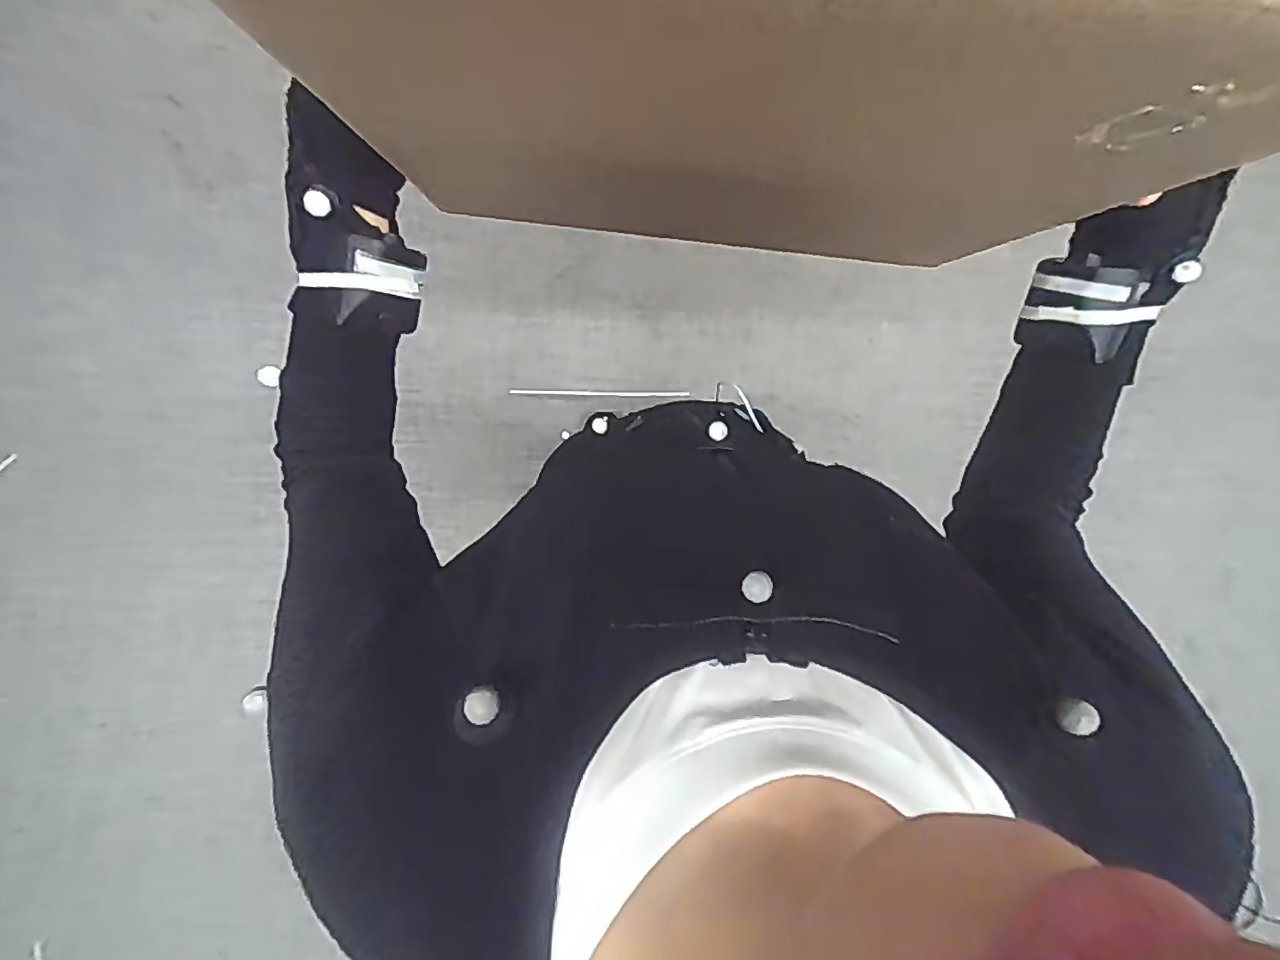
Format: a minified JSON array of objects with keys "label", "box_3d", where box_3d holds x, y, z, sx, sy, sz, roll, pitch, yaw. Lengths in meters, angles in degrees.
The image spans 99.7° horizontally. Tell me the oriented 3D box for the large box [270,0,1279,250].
[{"label":"large box","box_3d":[0.066,-0.320,0.256,0.408,0.320,0.320,5,102,-4]}]
